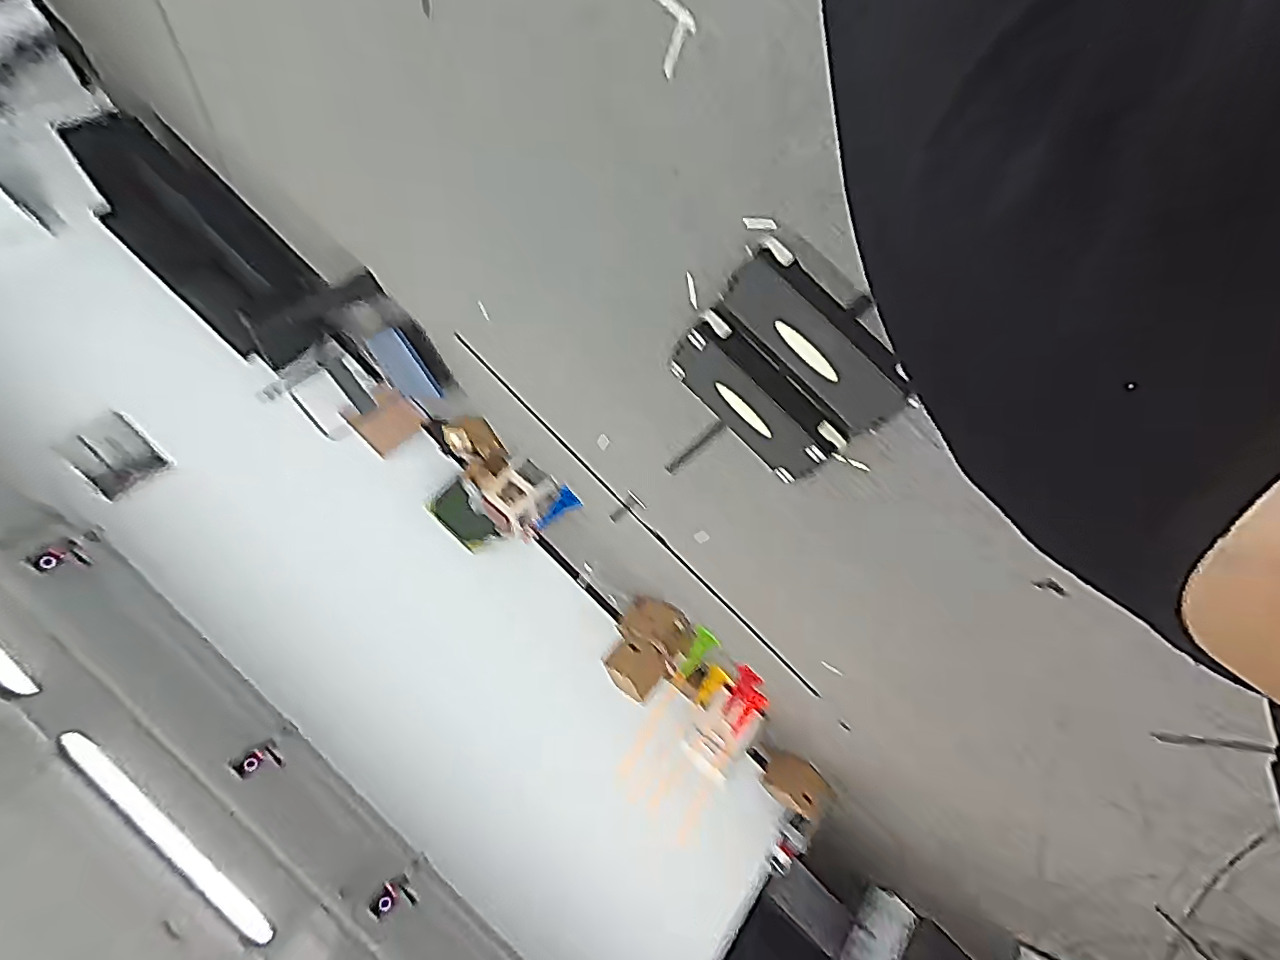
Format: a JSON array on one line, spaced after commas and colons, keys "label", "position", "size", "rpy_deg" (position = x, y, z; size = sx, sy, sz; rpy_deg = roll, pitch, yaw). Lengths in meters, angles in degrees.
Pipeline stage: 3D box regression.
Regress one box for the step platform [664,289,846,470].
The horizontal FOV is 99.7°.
[{"label": "step platform", "position": [0.402, -0.351, 1.966], "size": [0.684, 0.204, 0.286], "rpy_deg": [46, 153, 2]}]
